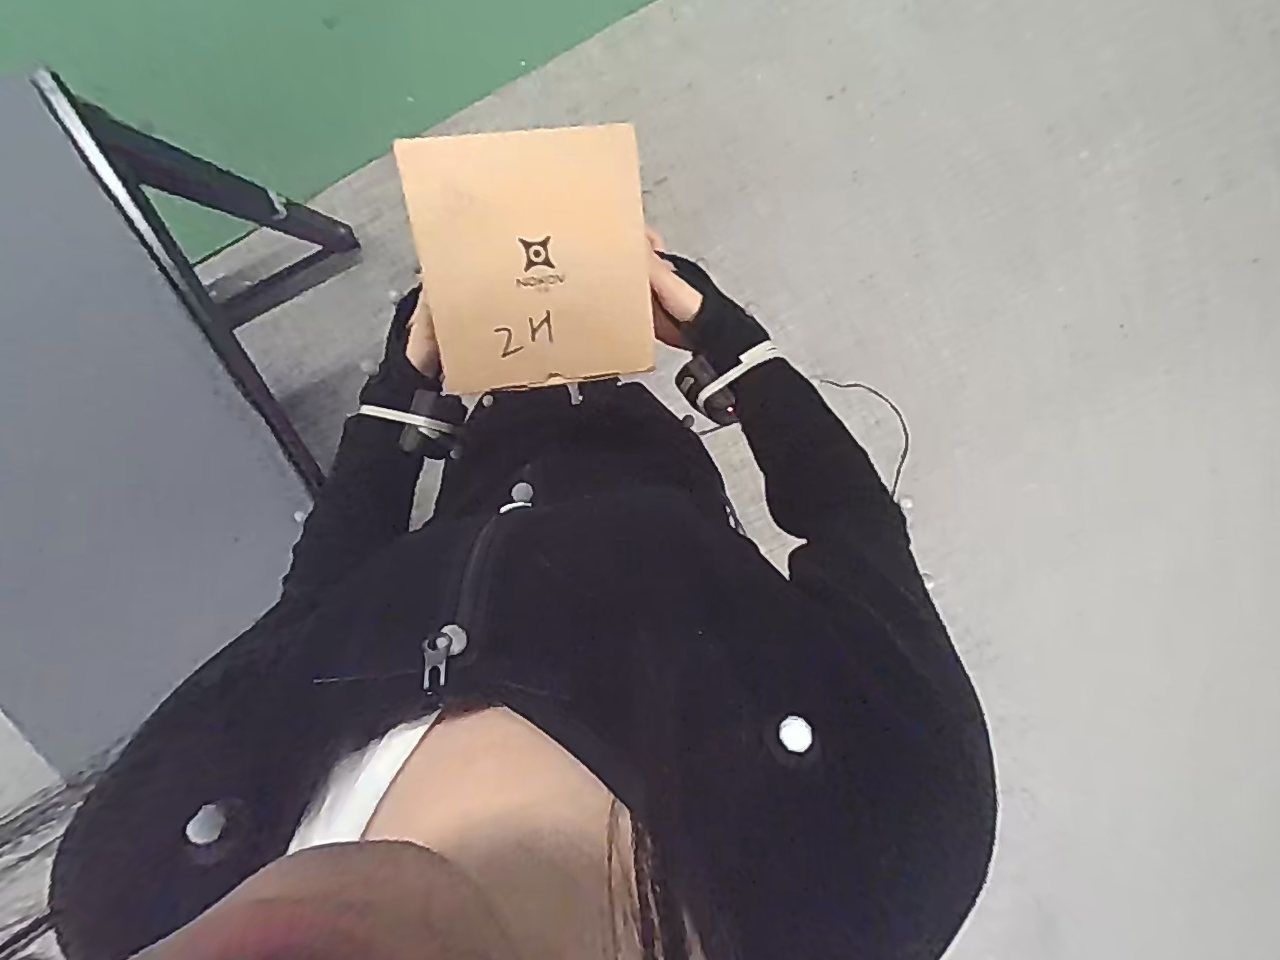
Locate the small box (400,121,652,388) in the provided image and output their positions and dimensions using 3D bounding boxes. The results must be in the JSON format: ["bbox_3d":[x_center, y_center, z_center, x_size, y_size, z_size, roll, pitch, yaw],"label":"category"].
[{"bbox_3d":[-0.089,-0.187,0.475,0.168,0.176,0.179,-8,110,-6],"label":"small box"}]
